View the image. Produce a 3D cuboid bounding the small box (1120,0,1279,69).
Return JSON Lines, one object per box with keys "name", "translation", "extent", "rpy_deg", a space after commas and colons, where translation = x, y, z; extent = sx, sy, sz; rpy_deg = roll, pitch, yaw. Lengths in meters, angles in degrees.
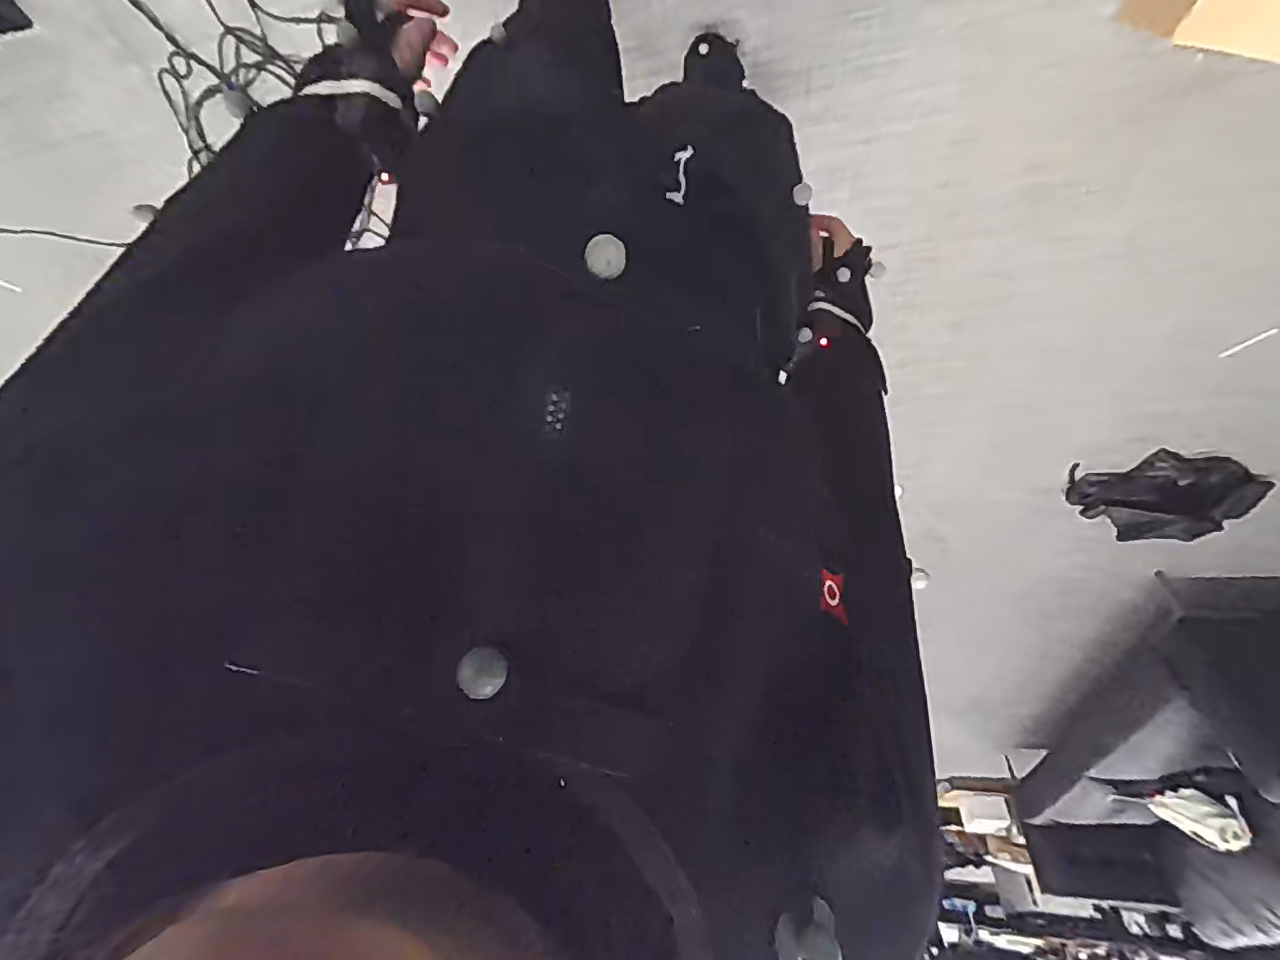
{"name": "small box", "translation": [0.850, -0.710, 0.758], "extent": [0.179, 0.176, 0.168], "rpy_deg": [9, 139, -1]}
